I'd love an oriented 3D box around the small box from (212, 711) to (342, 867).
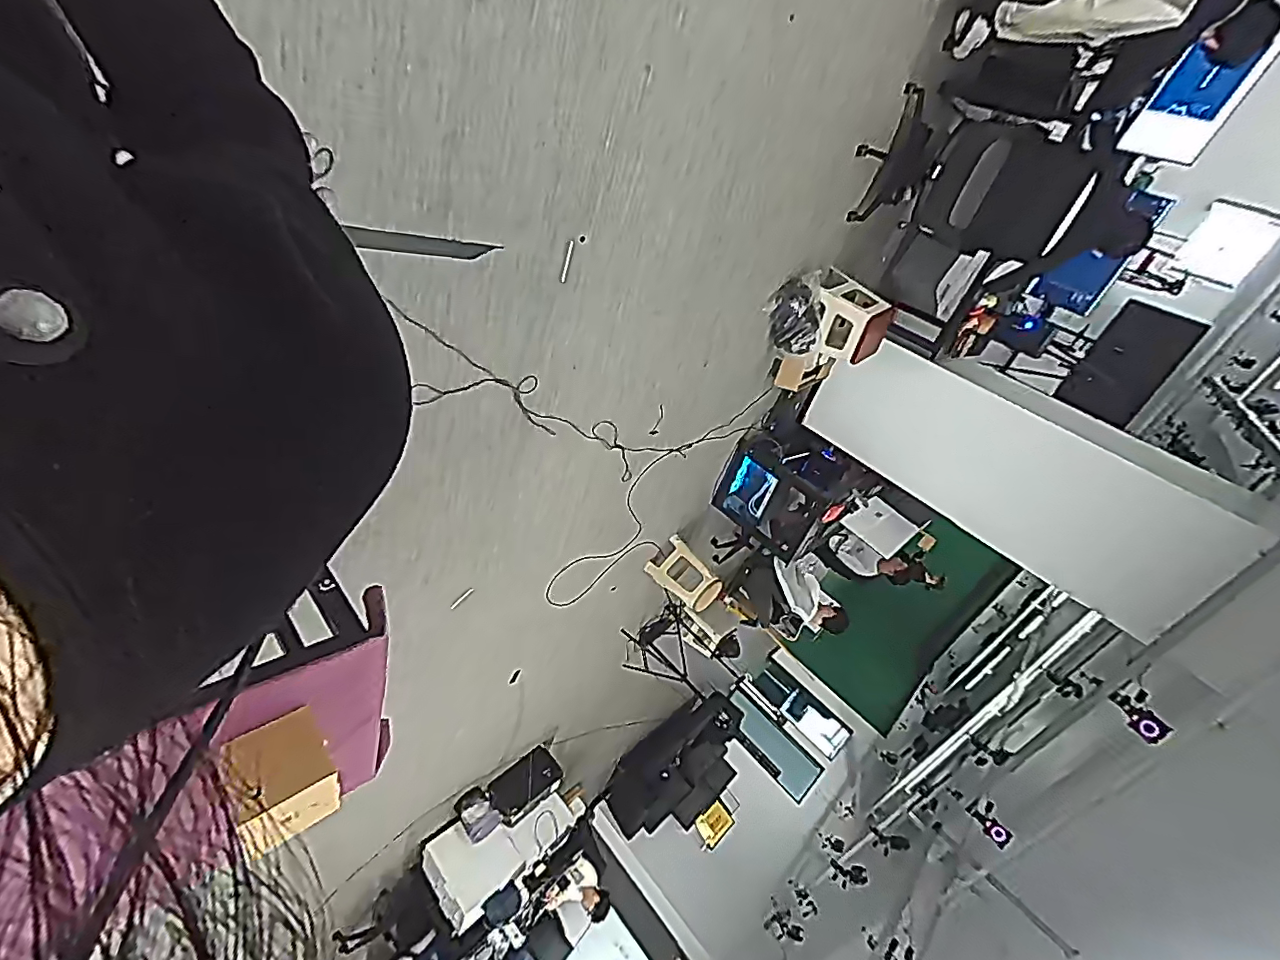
[{"bbox_3d":[-0.718,0.603,1.072,0.179,0.176,0.168,-20,141,-43],"label":"small box"}]
